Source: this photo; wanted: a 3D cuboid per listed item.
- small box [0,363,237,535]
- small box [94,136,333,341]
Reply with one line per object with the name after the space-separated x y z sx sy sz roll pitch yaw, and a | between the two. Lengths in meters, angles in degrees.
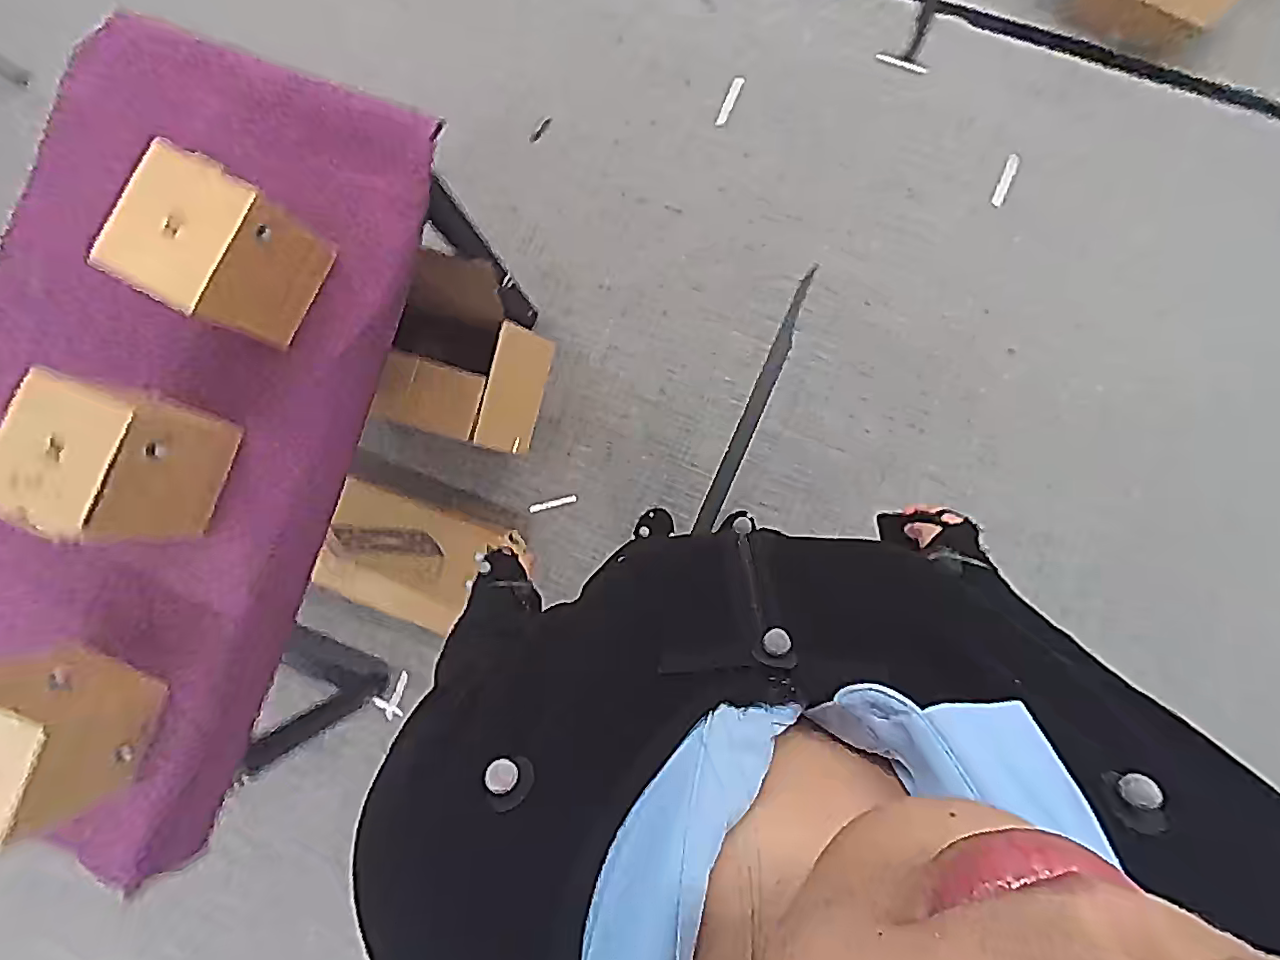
-0.715 -0.035 0.753 0.168 0.176 0.179 21 89 7 | small box
-0.579 -0.322 0.760 0.168 0.176 0.179 28 89 5 | small box
